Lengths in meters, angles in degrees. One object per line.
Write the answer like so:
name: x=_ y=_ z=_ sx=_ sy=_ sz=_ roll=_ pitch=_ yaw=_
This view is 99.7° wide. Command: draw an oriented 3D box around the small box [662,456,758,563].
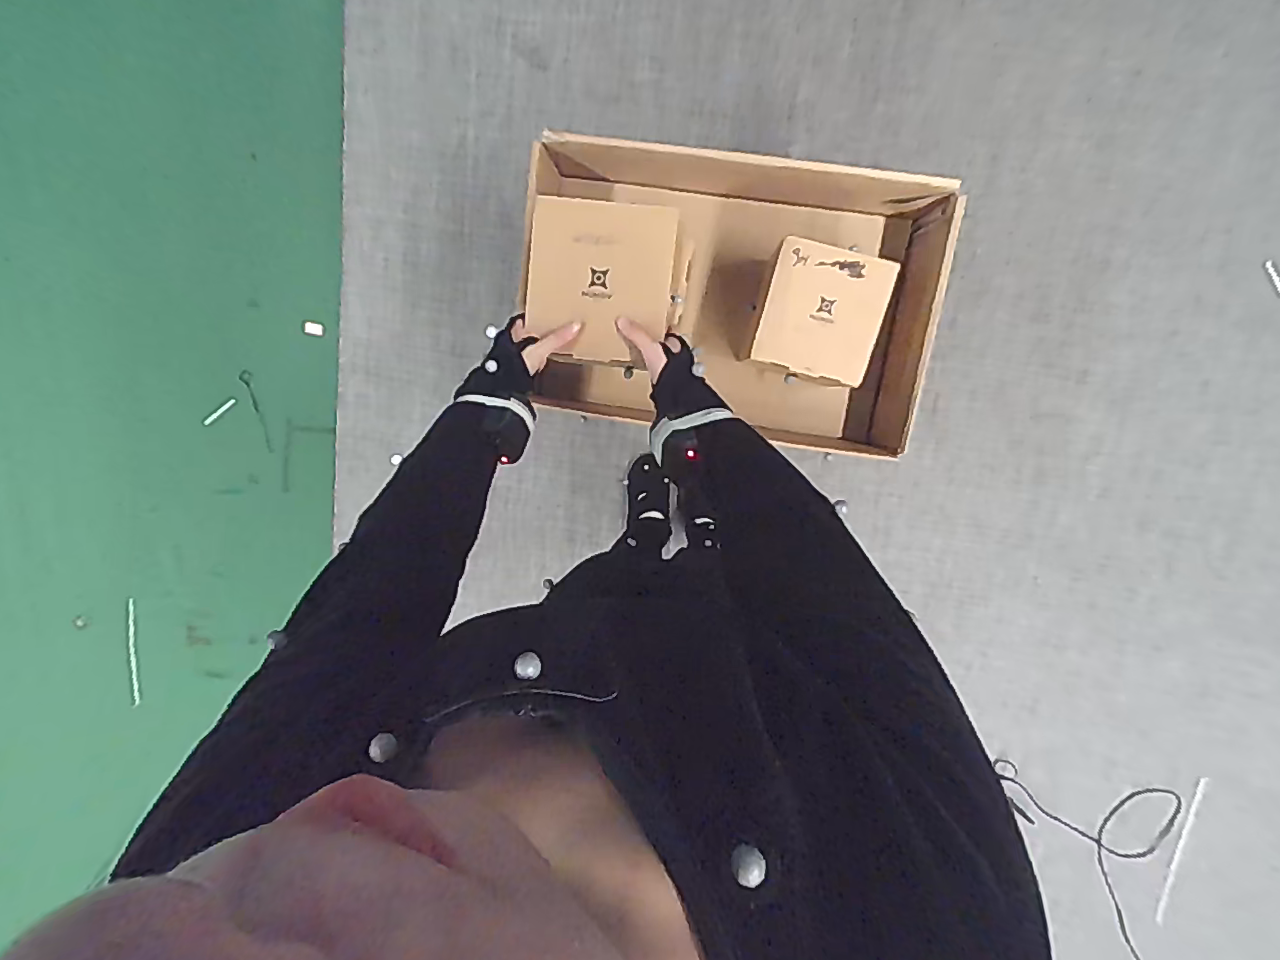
small box: x=0.170 y=0.078 z=1.378 sx=0.179 sy=0.176 sz=0.168 roll=-34 pitch=63 yaw=-22

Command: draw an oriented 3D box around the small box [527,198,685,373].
small box: x=-0.034 y=-0.236 z=0.696 sx=0.168 sy=0.176 sz=0.179 roll=8 pitch=100 yaw=5
